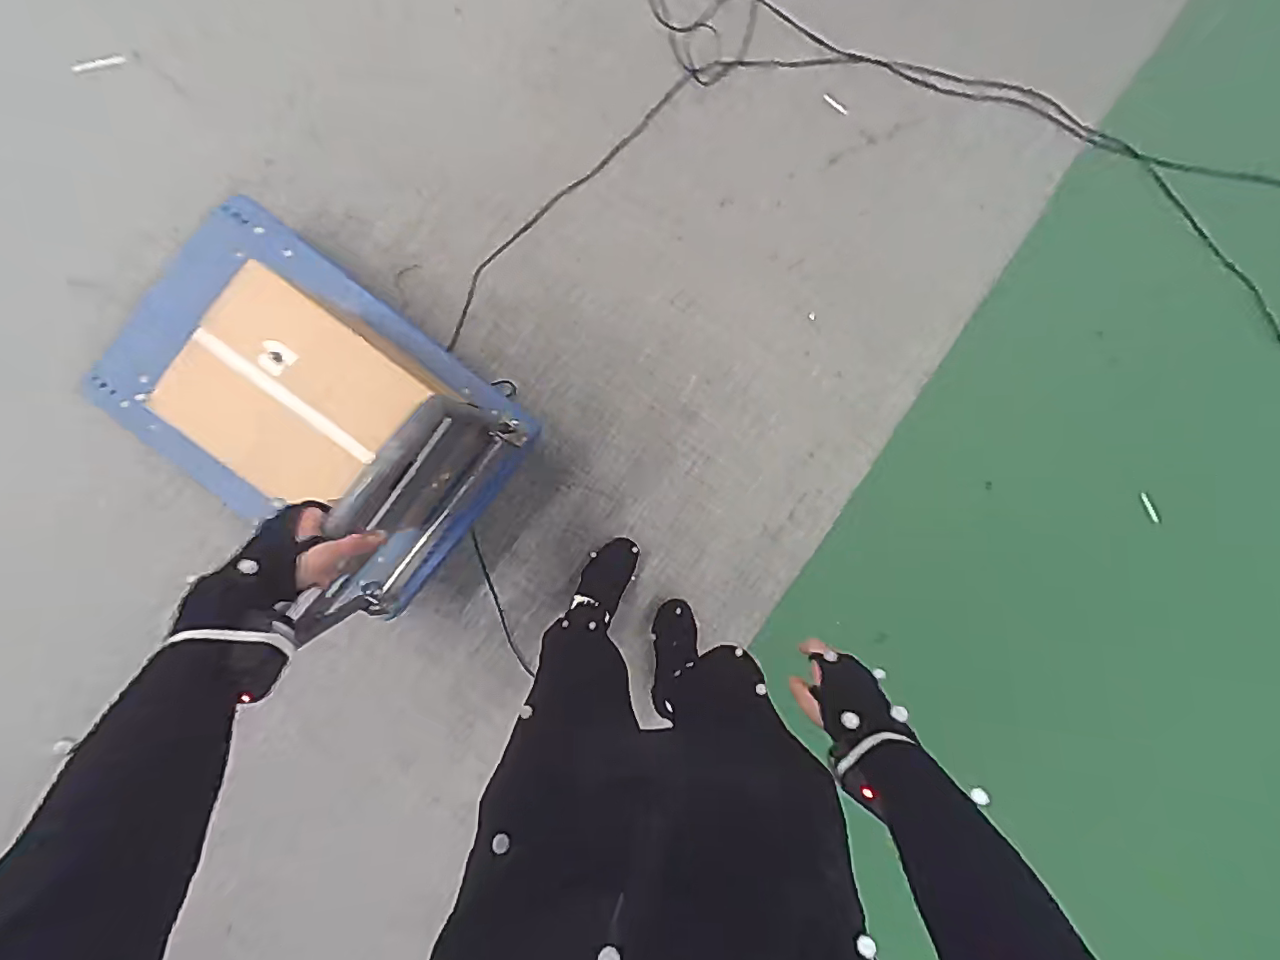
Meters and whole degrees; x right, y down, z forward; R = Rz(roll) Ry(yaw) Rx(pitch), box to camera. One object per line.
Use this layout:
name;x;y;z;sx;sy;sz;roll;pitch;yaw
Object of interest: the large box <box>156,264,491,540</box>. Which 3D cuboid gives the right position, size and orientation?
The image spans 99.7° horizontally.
large box;-0.576;-0.133;1.068;0.408;0.320;0.320;37;90;-1
